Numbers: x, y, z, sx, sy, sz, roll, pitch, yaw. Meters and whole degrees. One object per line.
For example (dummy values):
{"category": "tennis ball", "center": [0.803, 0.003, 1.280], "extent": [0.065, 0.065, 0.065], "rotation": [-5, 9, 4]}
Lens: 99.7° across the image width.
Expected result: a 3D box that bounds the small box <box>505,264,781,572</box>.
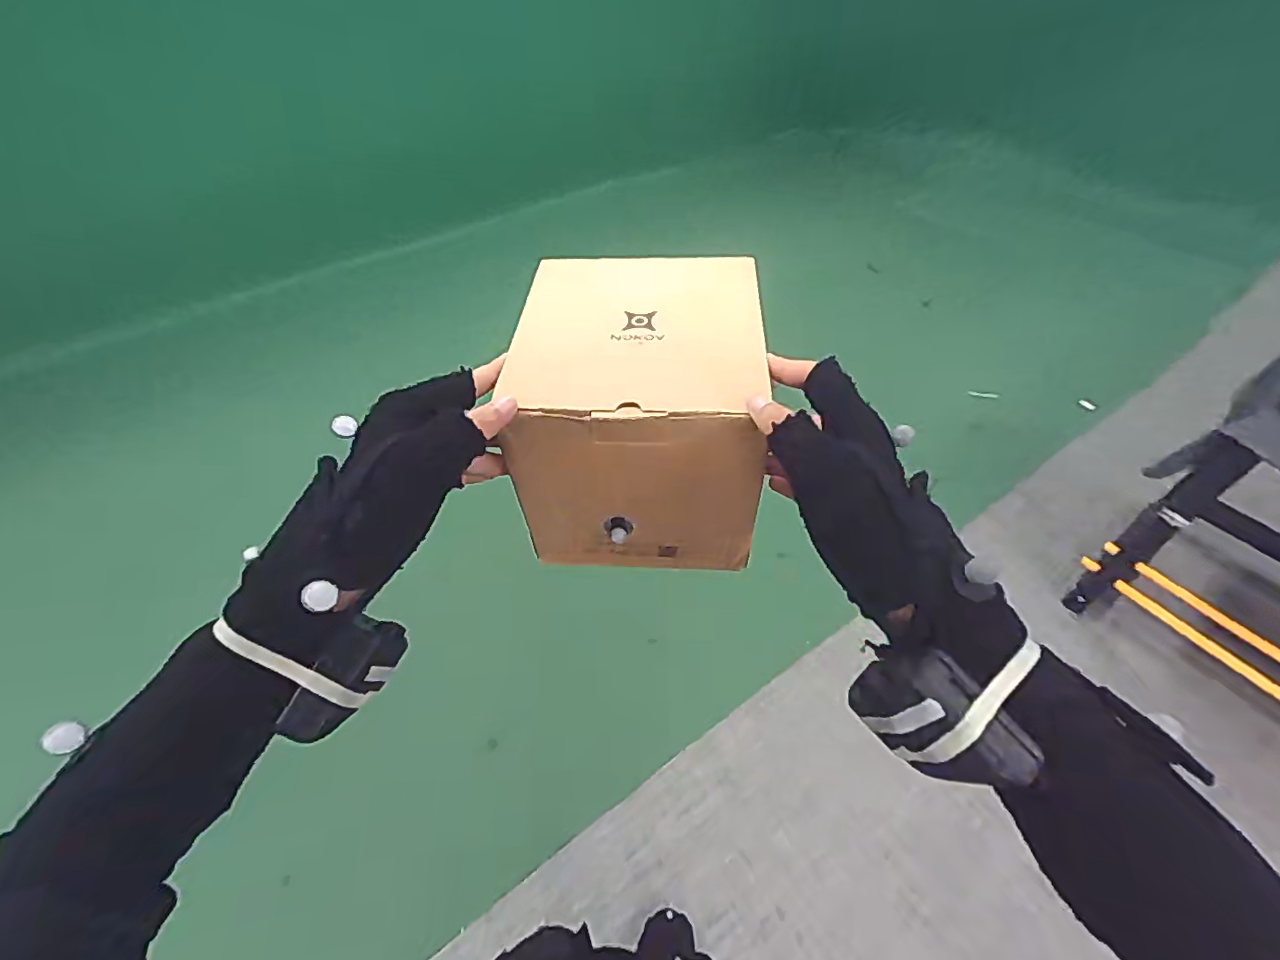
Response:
{"category": "small box", "center": [0.009, -0.049, 0.427], "extent": [0.168, 0.176, 0.179], "rotation": [2, 51, 4]}
